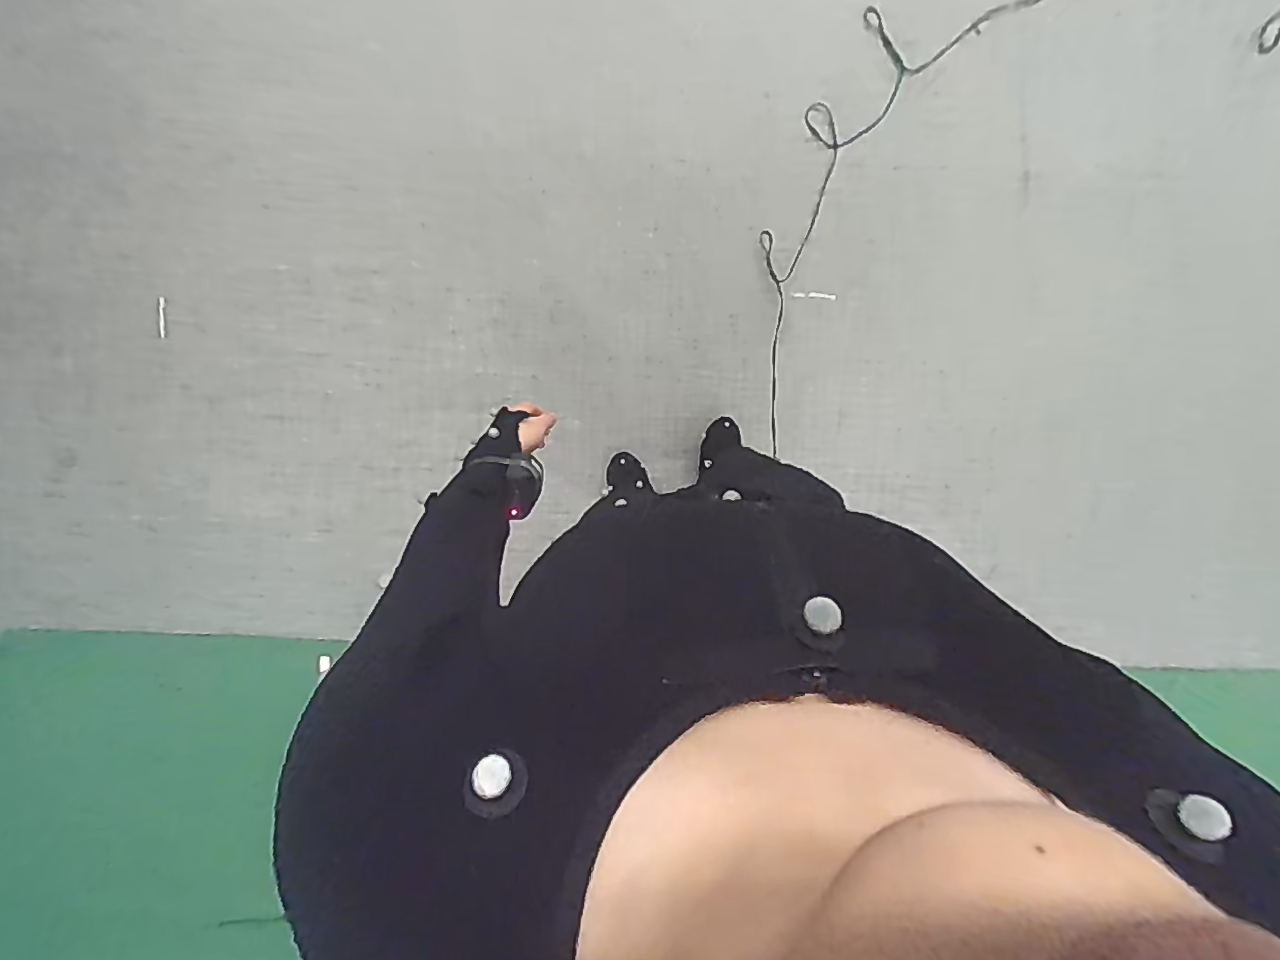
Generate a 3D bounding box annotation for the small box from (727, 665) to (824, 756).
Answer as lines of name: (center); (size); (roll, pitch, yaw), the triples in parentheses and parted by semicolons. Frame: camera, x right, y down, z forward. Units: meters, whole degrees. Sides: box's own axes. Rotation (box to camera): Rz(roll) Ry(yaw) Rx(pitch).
small box: (0.302, 0.536, 1.232); (0.179, 0.176, 0.168); (4, 93, 2)
